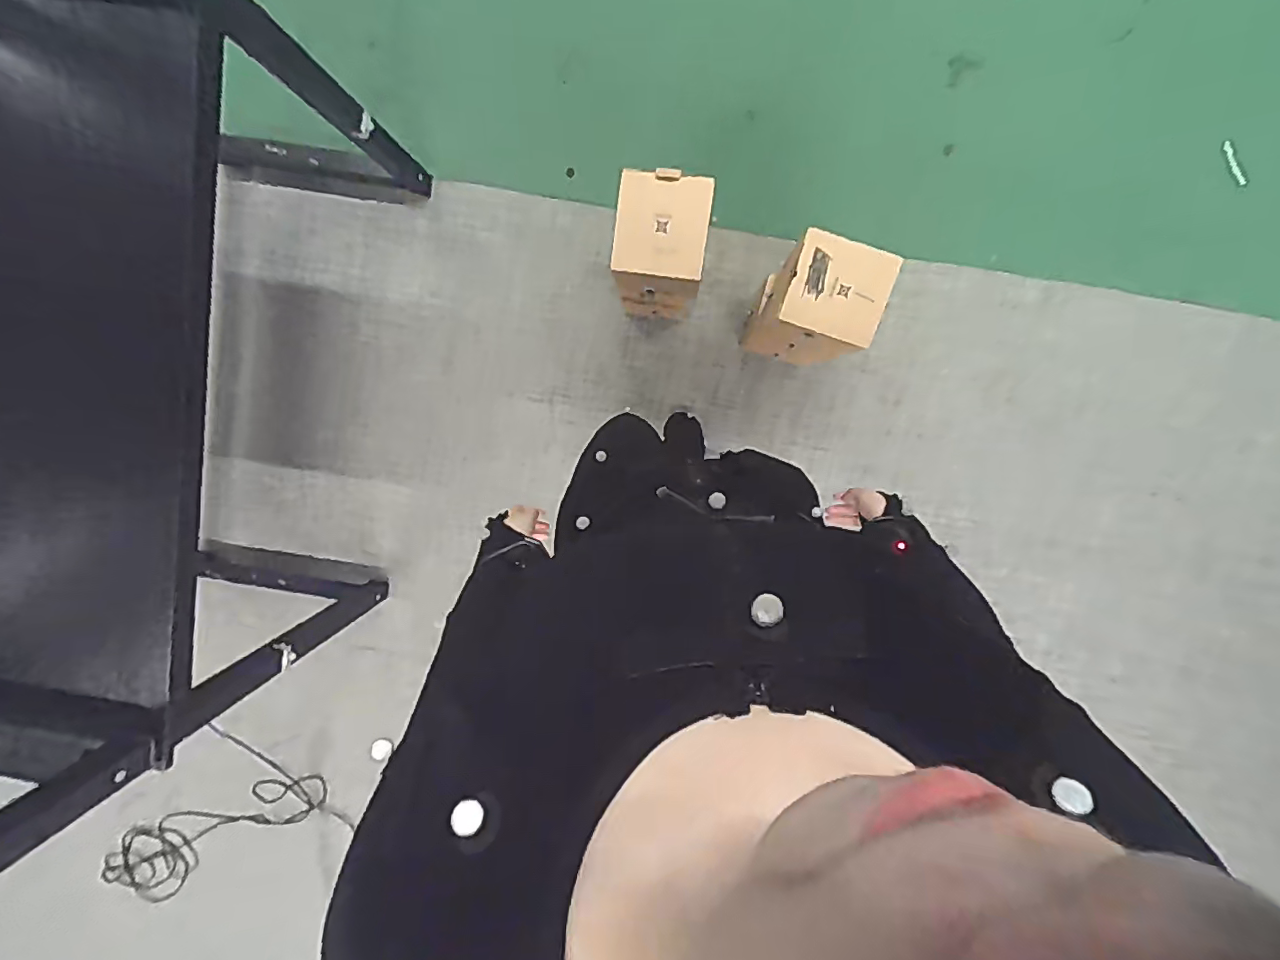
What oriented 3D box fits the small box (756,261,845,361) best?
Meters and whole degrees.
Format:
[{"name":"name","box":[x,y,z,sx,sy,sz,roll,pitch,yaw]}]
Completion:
[{"name":"small box","box":[0.369,-0.365,1.173,0.179,0.176,0.168,21,99,0]}]

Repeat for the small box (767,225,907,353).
[{"name":"small box","box":[0.354,-0.343,1.011,0.179,0.176,0.168,18,99,0]}]

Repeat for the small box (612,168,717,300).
[{"name":"small box","box":[0.045,-0.452,1.015,0.168,0.176,0.179,7,98,3]}]

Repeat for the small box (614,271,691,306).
[{"name":"small box","box":[0.044,-0.489,1.175,0.168,0.176,0.179,9,97,2]}]
